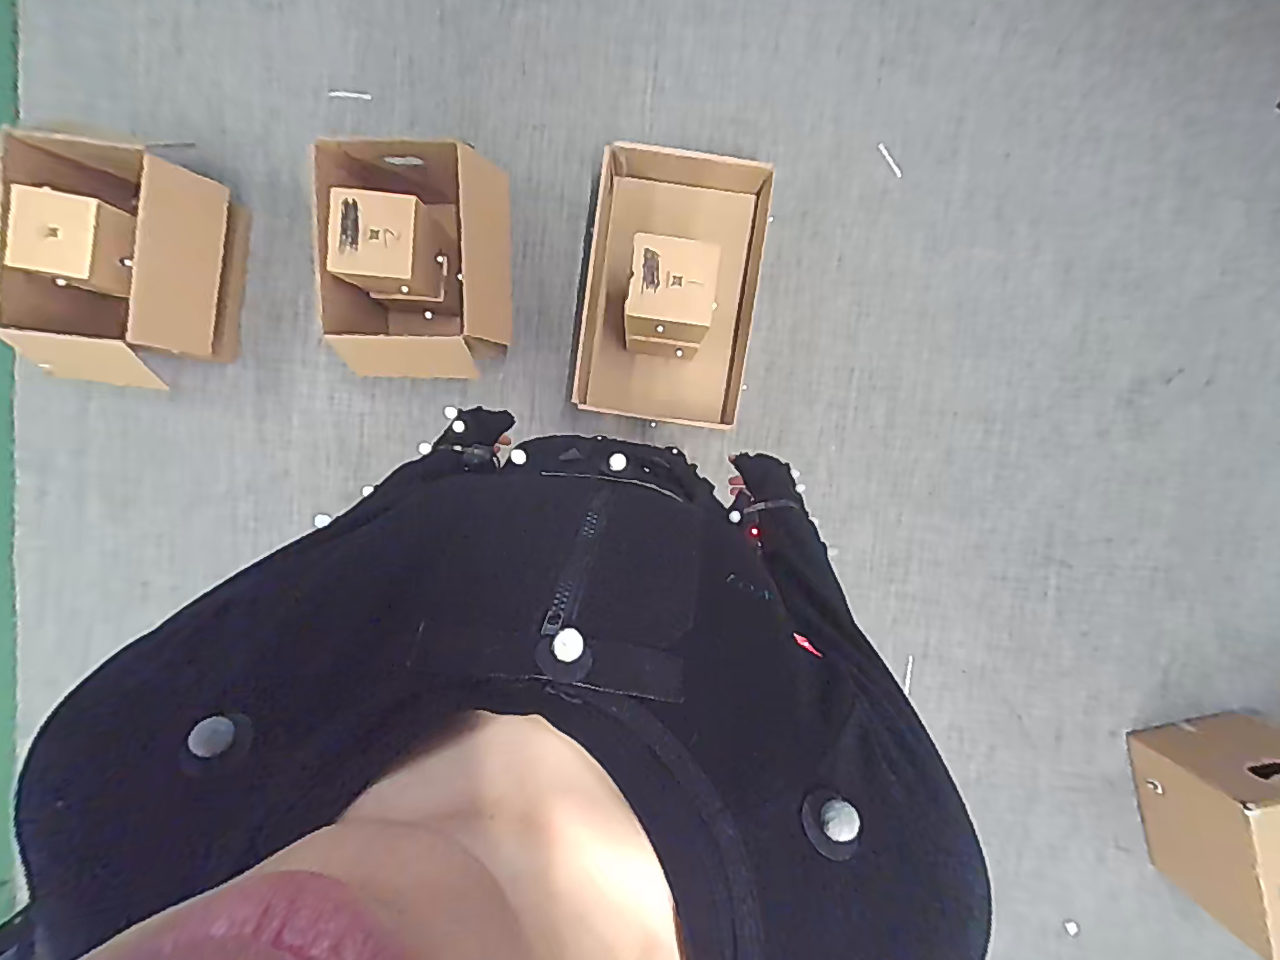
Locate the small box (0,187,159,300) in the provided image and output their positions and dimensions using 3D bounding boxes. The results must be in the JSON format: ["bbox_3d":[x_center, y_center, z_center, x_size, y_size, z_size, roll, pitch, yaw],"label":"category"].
[{"bbox_3d":[-1.207,-0.503,1.176,0.179,0.176,0.168,9,93,-1],"label":"small box"}]

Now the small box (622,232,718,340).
[{"bbox_3d":[0.059,-0.404,1.152,0.179,0.176,0.168,7,92,-2],"label":"small box"}]
